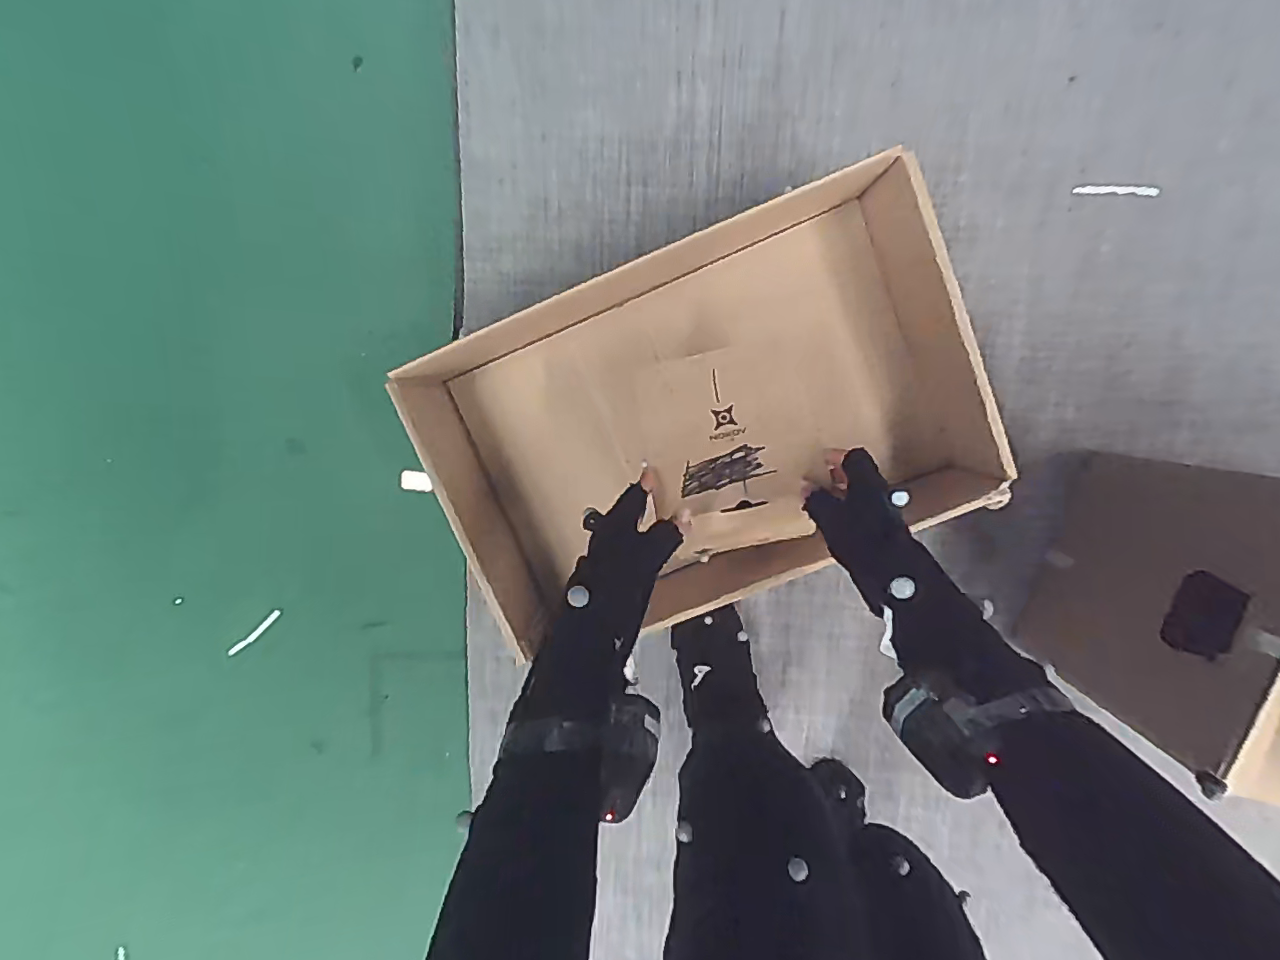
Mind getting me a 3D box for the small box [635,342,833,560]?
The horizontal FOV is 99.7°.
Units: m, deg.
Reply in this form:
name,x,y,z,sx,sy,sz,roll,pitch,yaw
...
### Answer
name,x,y,z,sx,sy,sz,roll,pitch,yaw
small box,0.102,-0.017,0.599,0.168,0.176,0.179,-12,67,8
